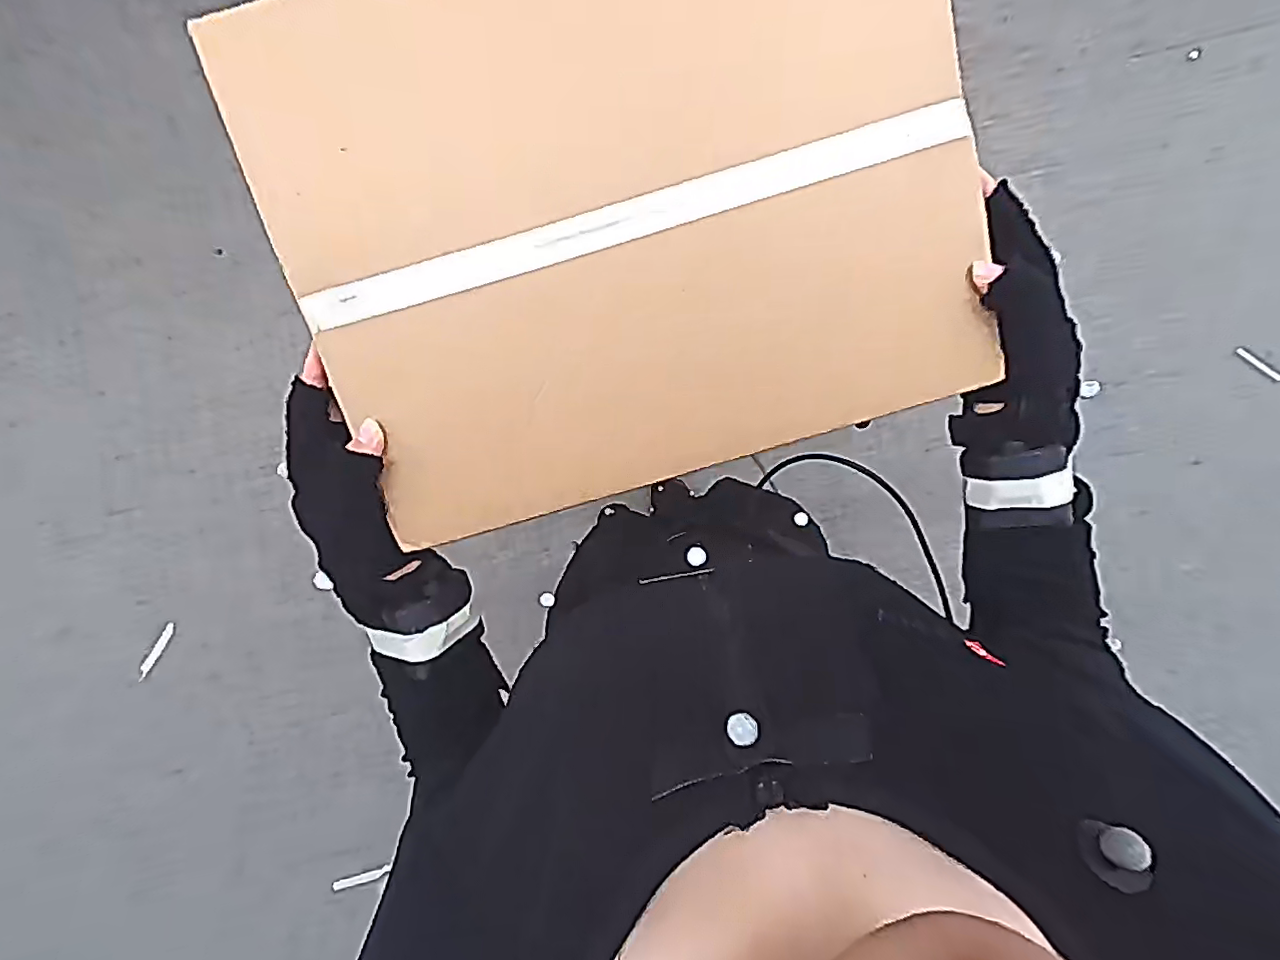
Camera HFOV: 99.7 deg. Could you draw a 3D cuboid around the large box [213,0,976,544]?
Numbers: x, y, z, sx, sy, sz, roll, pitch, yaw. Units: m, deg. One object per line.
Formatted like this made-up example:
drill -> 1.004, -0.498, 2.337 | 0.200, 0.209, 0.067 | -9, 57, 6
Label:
large box -> -0.013, -0.188, 0.473 | 0.408, 0.320, 0.320 | -16, 102, 1
